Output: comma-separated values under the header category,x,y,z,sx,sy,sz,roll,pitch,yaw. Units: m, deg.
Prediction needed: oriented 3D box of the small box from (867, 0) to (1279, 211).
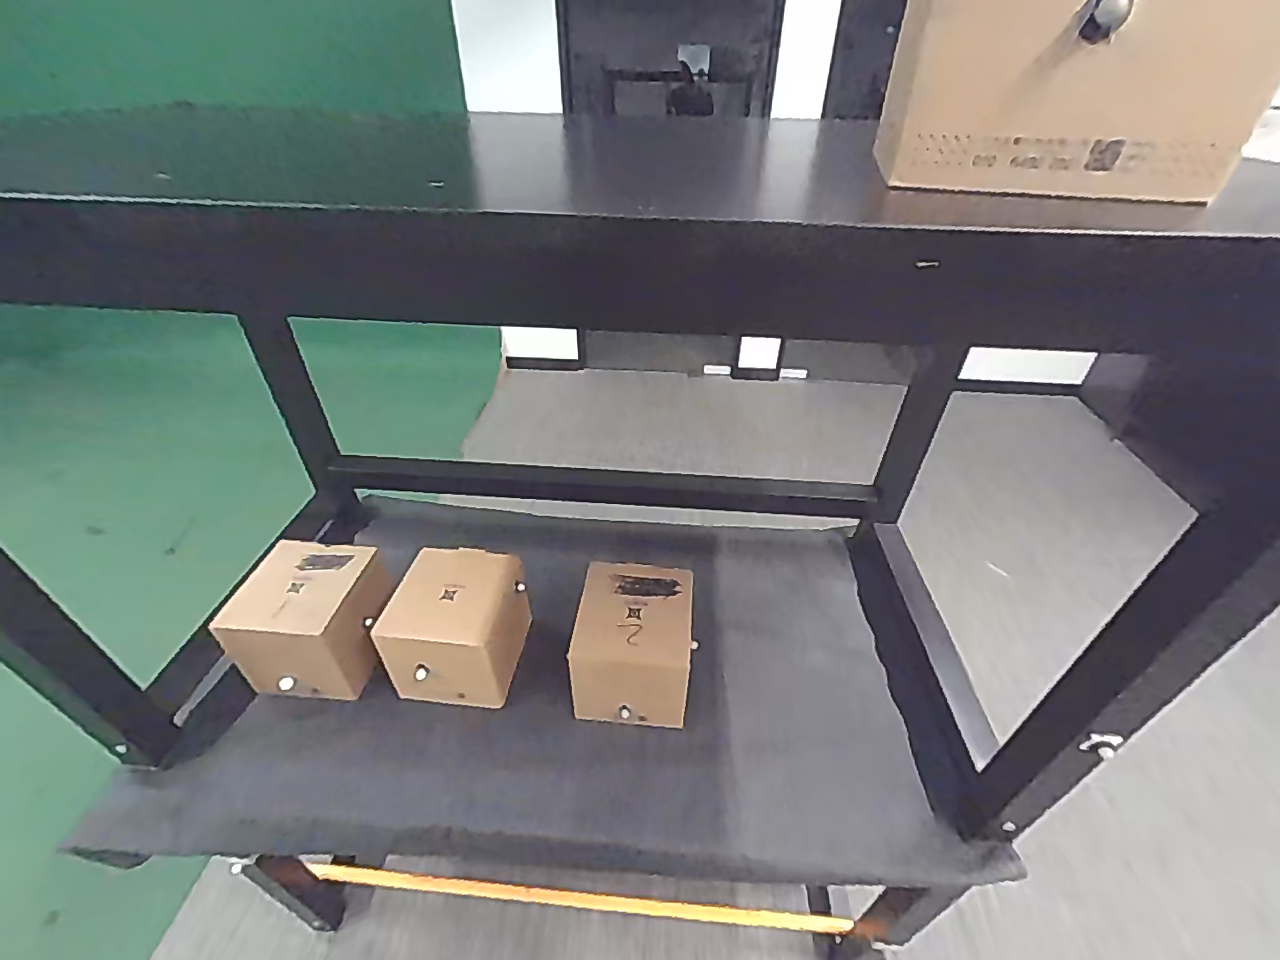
category,x,y,z,sx,sy,sz,roll,pitch,yaw
small box,0.249,-0.275,0.335,0.168,0.176,0.179,11,38,12

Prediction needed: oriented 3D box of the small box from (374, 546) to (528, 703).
category,x,y,z,sx,sy,sz,roll,pitch,yaw
small box,-0.285,0.231,0.865,0.168,0.176,0.179,5,37,4

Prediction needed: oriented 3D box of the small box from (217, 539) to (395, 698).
category,x,y,z,sx,sy,sz,roll,pitch,yaw
small box,-0.512,0.219,0.869,0.168,0.176,0.179,4,38,3
